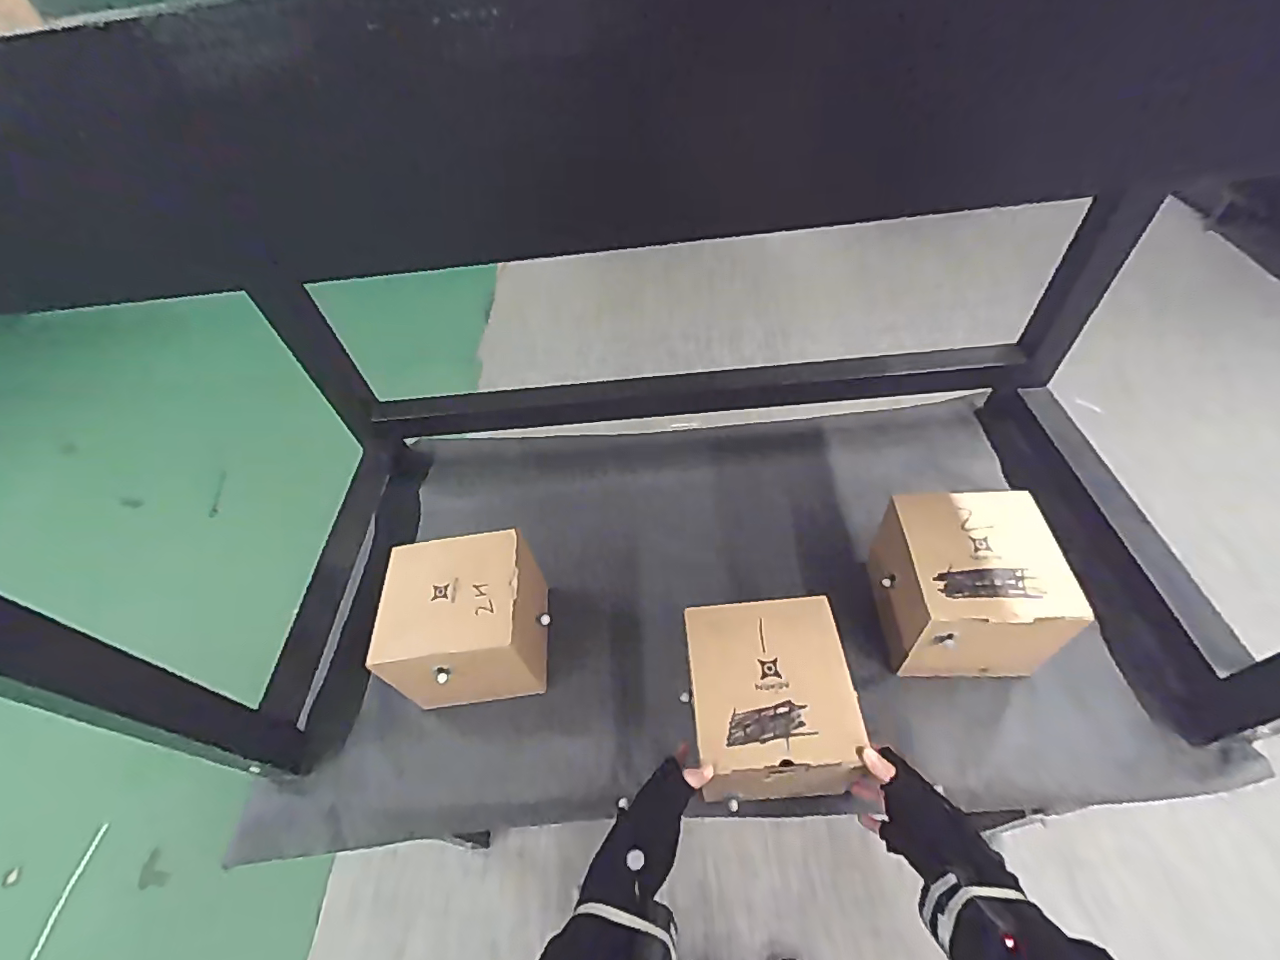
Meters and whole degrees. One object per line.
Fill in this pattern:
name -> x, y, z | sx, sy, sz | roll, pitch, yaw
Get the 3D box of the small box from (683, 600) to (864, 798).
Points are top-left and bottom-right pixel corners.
small box -> 0.142, 0.262, 0.632 | 0.168, 0.176, 0.179 | -5, 50, 3

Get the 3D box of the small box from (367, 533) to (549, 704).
small box -> -0.233, 0.195, 0.742 | 0.179, 0.176, 0.168 | -7, 51, 1
